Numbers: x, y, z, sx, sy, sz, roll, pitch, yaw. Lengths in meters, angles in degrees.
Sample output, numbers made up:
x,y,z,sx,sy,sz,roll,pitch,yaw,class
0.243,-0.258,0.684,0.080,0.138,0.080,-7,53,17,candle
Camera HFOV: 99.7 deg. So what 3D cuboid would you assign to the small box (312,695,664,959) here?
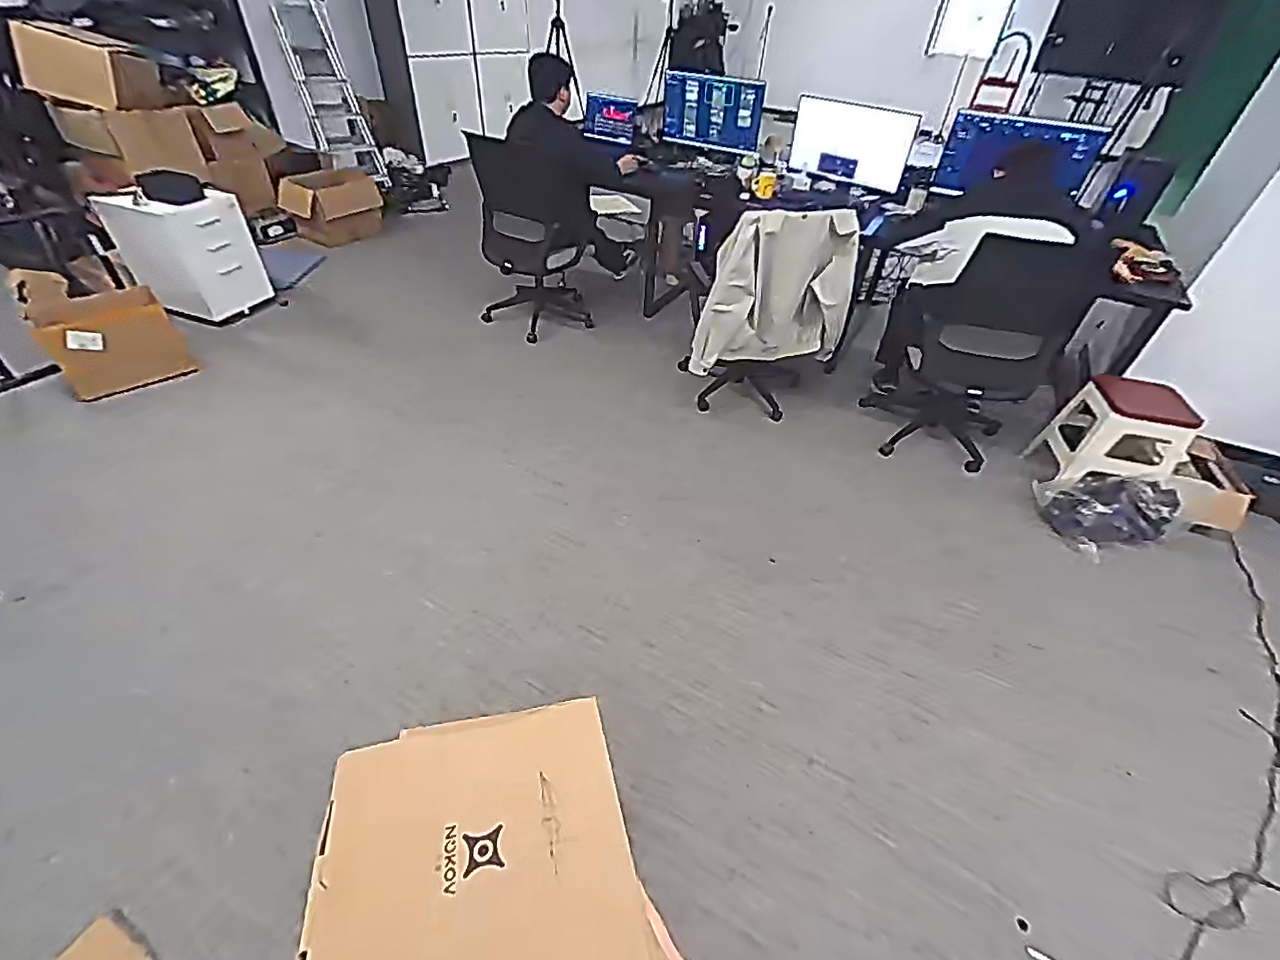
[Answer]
x,y,z,sx,sy,sz,roll,pitch,yaw,class
-0.092,0.280,0.361,0.179,0.176,0.168,-8,37,-14,small box
